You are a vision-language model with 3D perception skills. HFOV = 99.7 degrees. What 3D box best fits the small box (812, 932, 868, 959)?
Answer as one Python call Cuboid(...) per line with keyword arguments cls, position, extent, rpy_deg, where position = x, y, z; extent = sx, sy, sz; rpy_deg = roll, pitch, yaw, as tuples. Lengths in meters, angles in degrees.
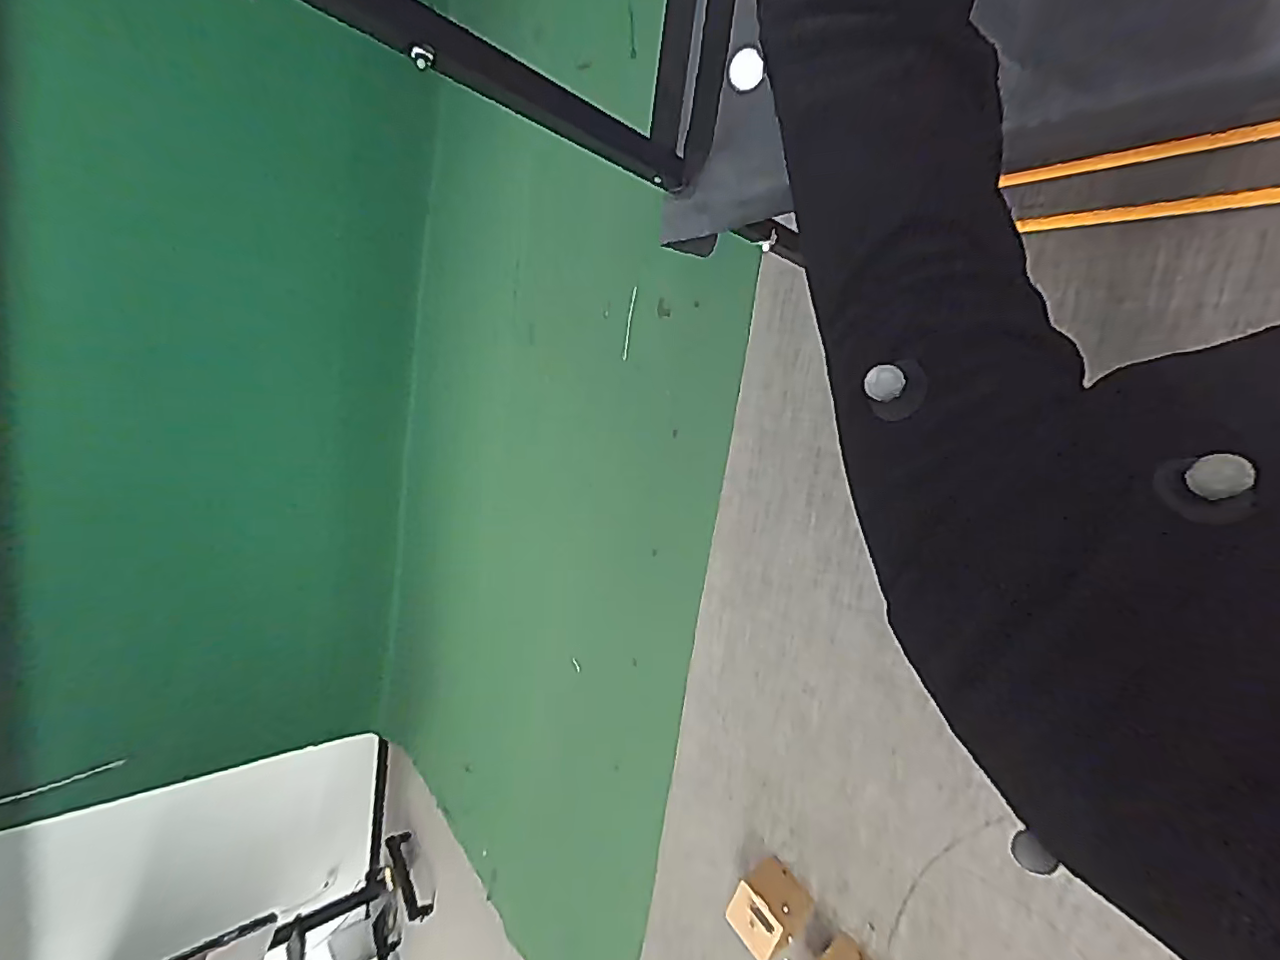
Cuboid(cls="small box", position=(0.554, 1.421, 1.491), extent=(0.168, 0.176, 0.179), rpy_deg=(29, 109, 44))
